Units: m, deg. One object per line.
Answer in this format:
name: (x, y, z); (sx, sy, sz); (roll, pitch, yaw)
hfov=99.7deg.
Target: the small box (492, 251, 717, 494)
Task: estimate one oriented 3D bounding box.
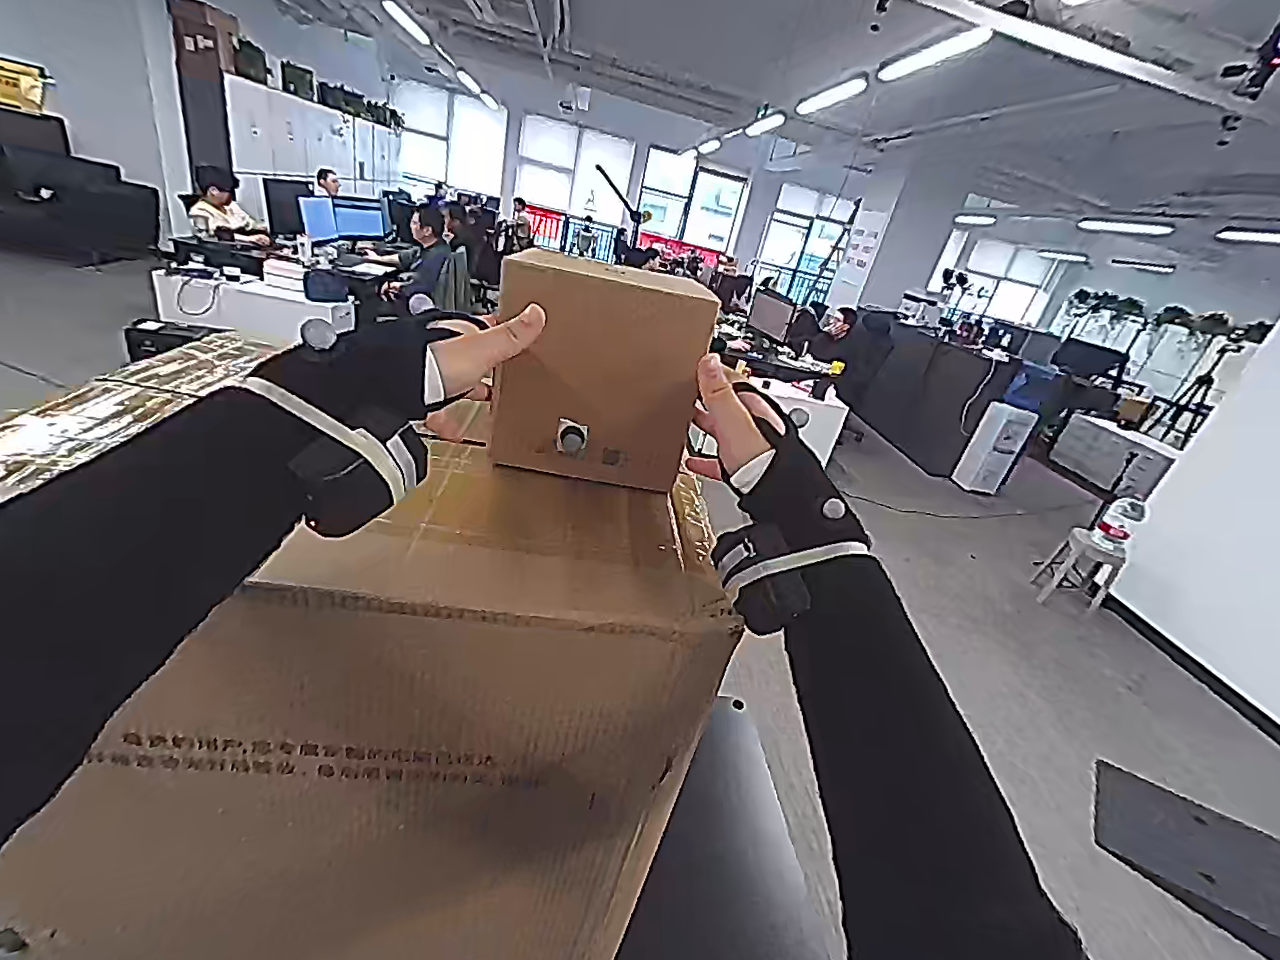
small box: (-0.040, -0.106, 0.505); (0.168, 0.176, 0.179); (7, 26, -7)
